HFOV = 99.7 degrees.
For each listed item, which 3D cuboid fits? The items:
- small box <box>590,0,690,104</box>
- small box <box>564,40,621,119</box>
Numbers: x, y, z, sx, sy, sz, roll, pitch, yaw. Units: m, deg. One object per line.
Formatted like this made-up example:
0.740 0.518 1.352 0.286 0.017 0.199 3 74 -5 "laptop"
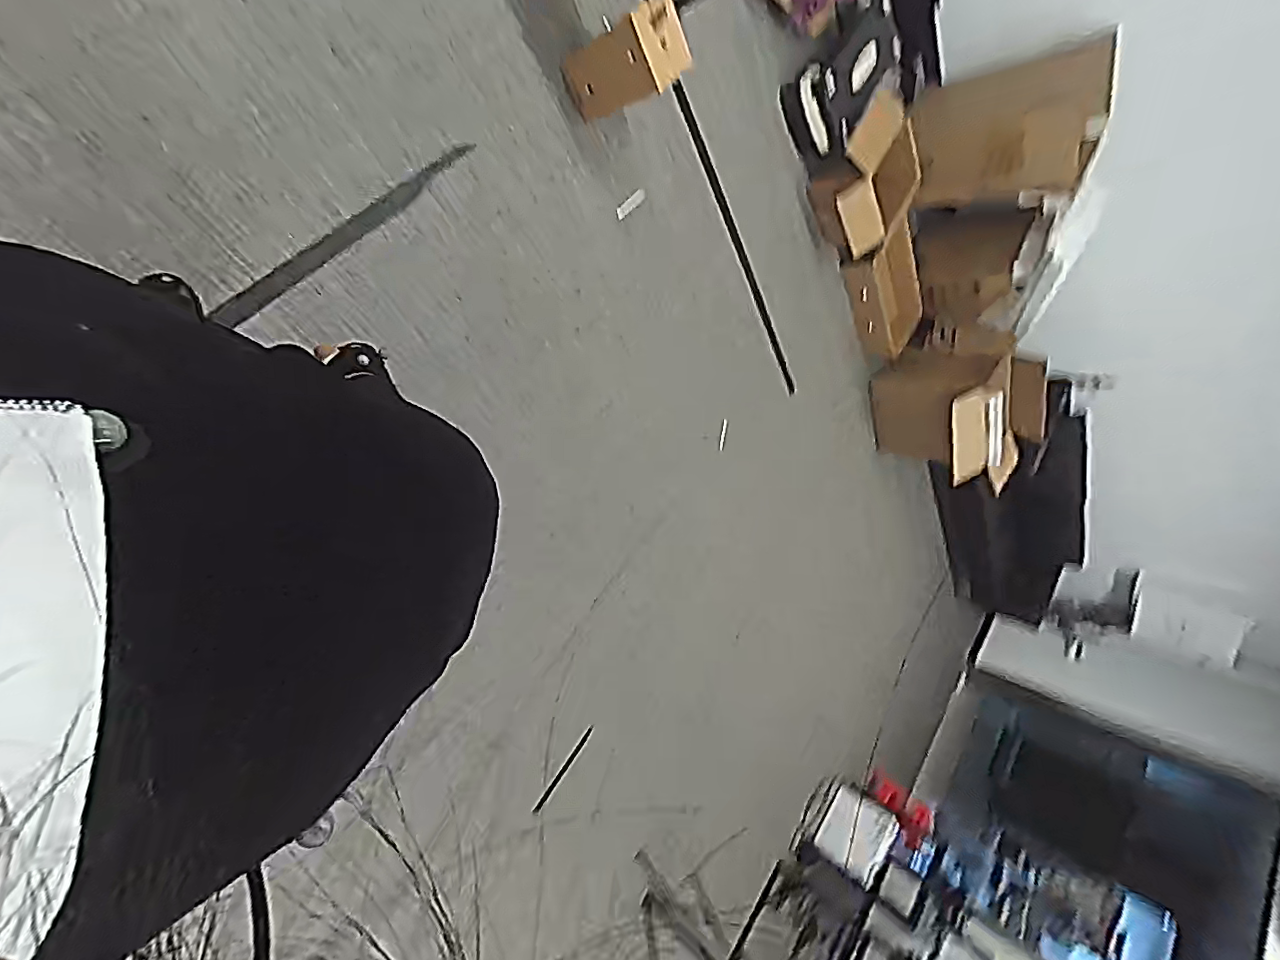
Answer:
-0.002 -1.164 1.459 0.168 0.176 0.179 -52 131 -20 "small box"
-0.100 -1.202 1.589 0.179 0.176 0.168 -50 130 -21 "small box"
